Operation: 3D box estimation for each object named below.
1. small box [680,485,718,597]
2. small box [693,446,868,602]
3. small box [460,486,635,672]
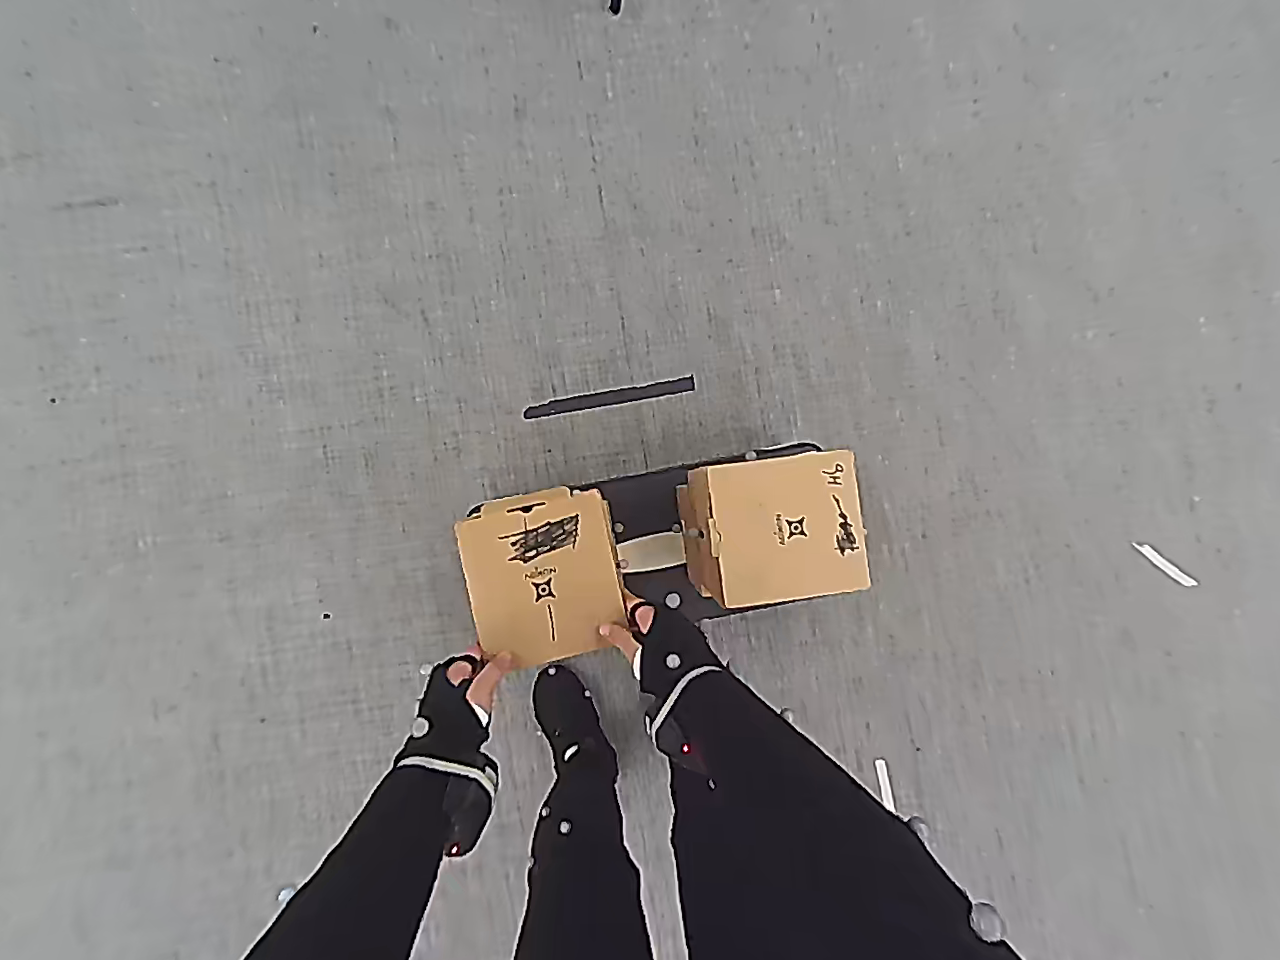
[{"bbox_3d":[0.161,0.077,0.862,0.179,0.176,0.168,-11,88,-3],"label":"small box"},{"bbox_3d":[0.166,0.053,0.701,0.179,0.176,0.168,-8,89,-1],"label":"small box"},{"bbox_3d":[-0.108,0.115,0.678,0.168,0.176,0.179,-14,86,-4],"label":"small box"}]
